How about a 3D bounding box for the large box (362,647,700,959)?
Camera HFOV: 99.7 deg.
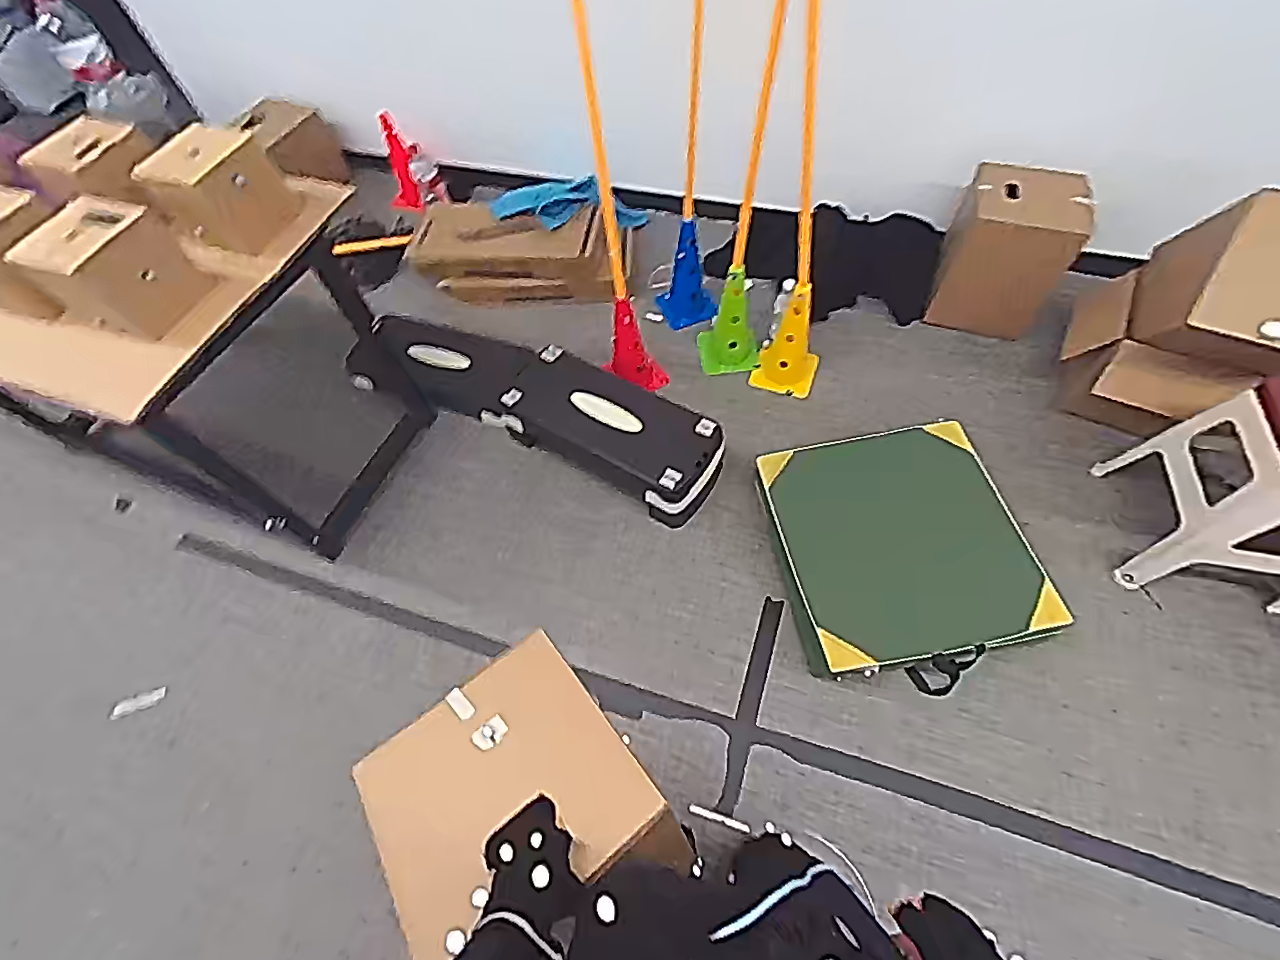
[{"bbox_3d":[-0.140,0.533,0.831,0.320,0.408,0.320,-35,51,-18],"label":"large box"}]
